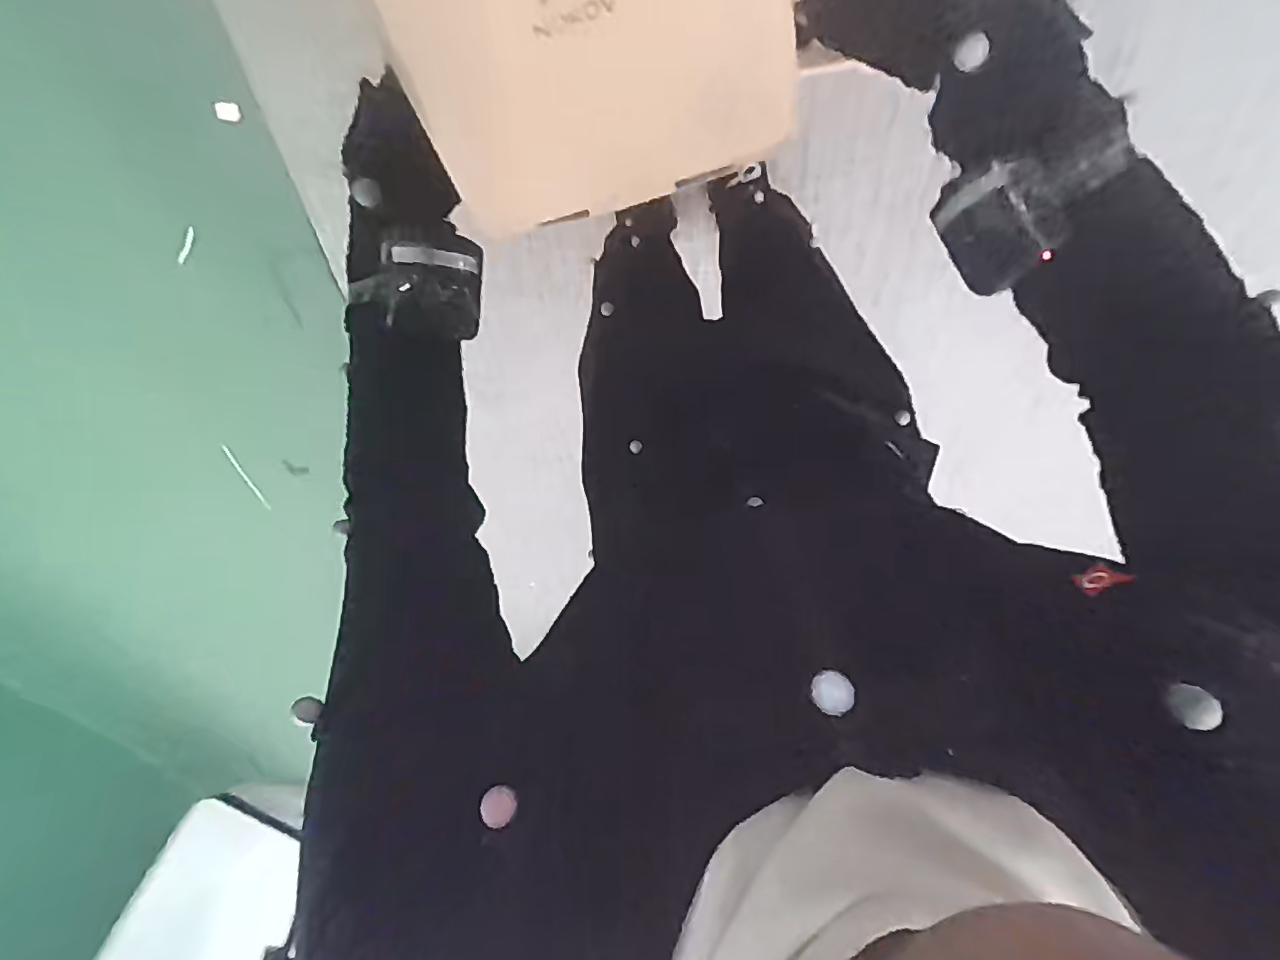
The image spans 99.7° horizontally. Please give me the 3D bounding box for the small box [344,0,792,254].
[{"bbox_3d":[-0.027,-0.246,0.262,0.168,0.176,0.179,-10,133,15],"label":"small box"}]
